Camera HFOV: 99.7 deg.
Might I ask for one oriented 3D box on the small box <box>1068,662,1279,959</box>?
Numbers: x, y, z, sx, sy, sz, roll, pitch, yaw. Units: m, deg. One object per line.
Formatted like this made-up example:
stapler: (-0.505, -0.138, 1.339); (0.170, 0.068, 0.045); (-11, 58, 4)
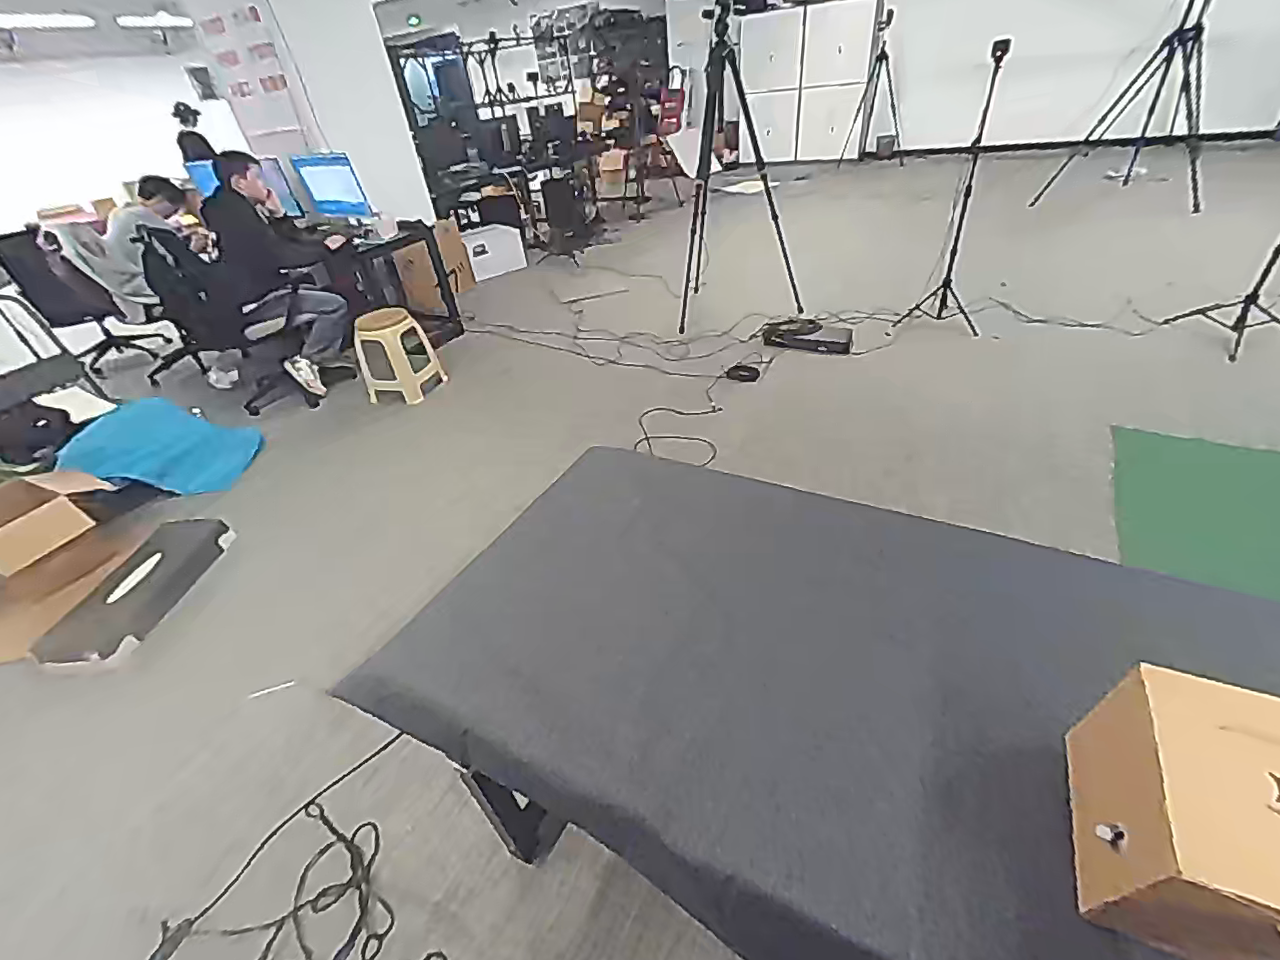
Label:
small box: (0.493, 0.292, 0.450); (0.168, 0.176, 0.179); (12, 47, 22)
